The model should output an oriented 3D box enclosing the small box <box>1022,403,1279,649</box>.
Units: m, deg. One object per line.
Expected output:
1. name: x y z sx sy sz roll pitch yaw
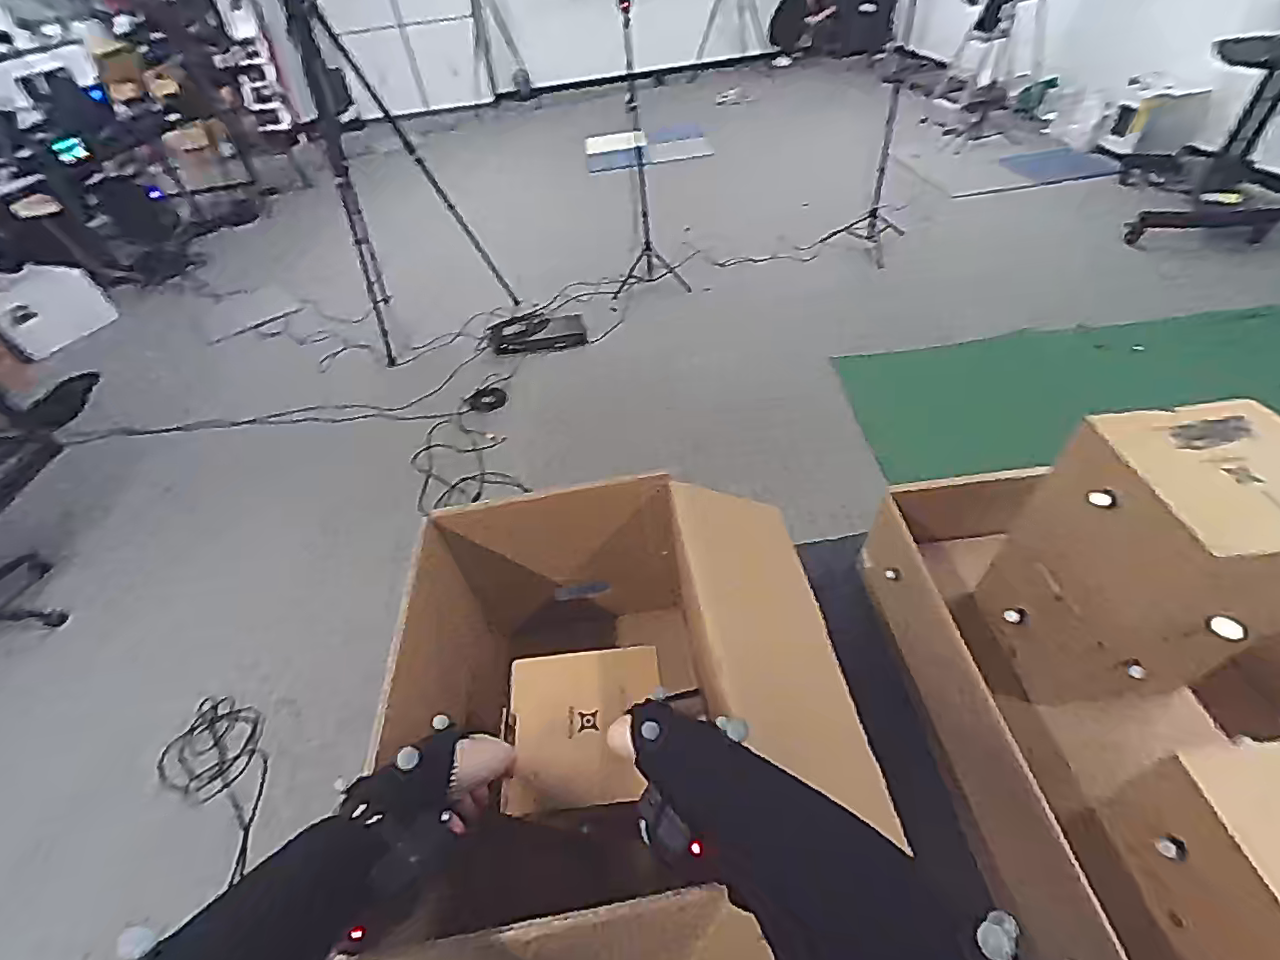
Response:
1. small box: 0.538 0.048 0.548 0.168 0.176 0.179 -7 47 3
